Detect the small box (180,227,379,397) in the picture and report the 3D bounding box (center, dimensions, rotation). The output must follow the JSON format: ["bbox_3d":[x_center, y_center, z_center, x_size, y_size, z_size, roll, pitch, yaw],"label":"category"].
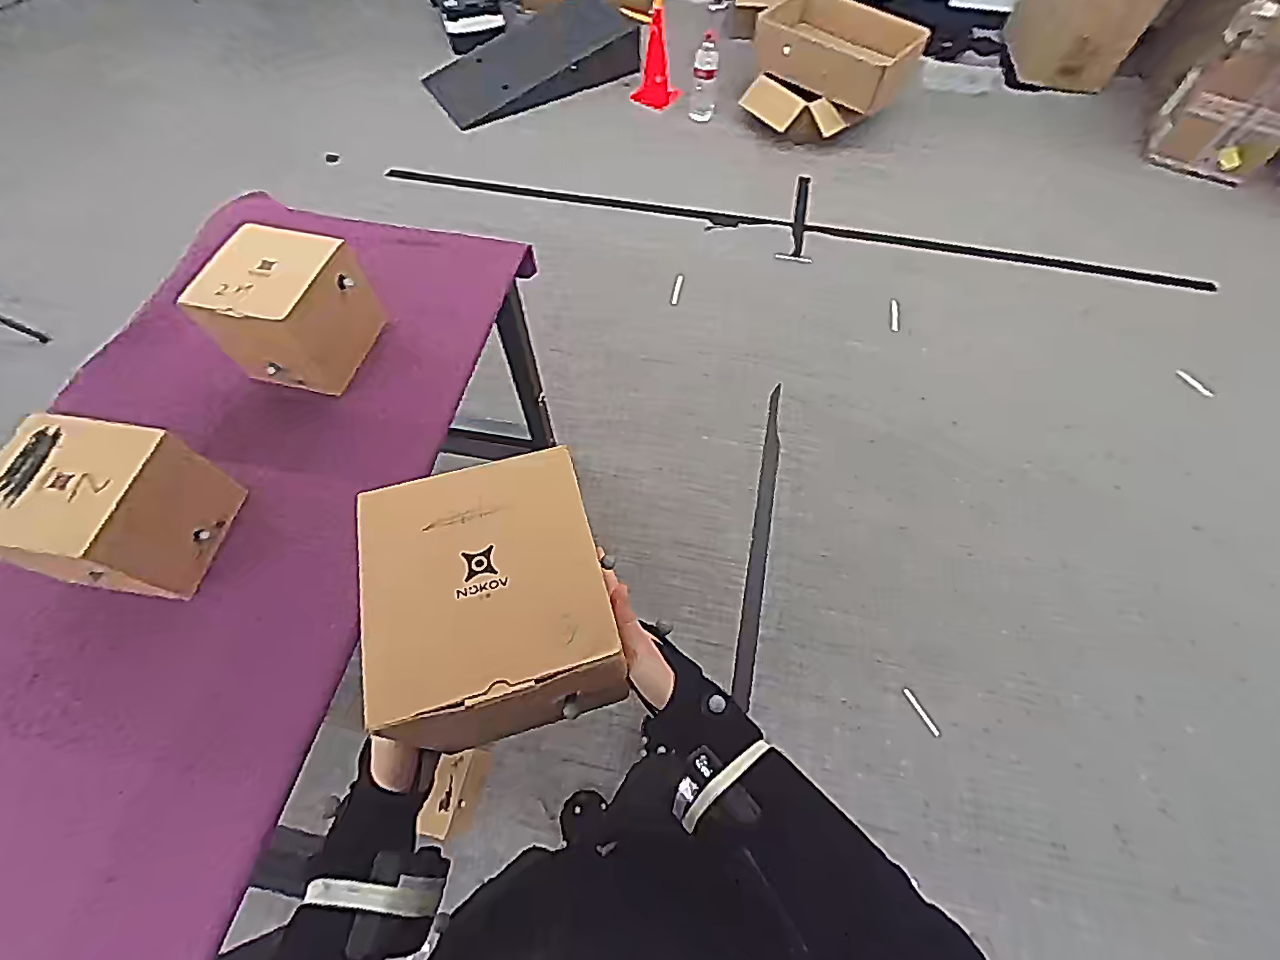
[{"bbox_3d":[-0.542,-0.259,0.849,0.168,0.176,0.179,11,63,6],"label":"small box"}]

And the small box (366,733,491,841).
[{"bbox_3d":[-0.449,0.667,1.181,0.179,0.176,0.168,11,62,6],"label":"small box"}]

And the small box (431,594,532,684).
[{"bbox_3d":[-0.379,0.395,1.327,0.179,0.176,0.168,10,62,3],"label":"small box"}]
